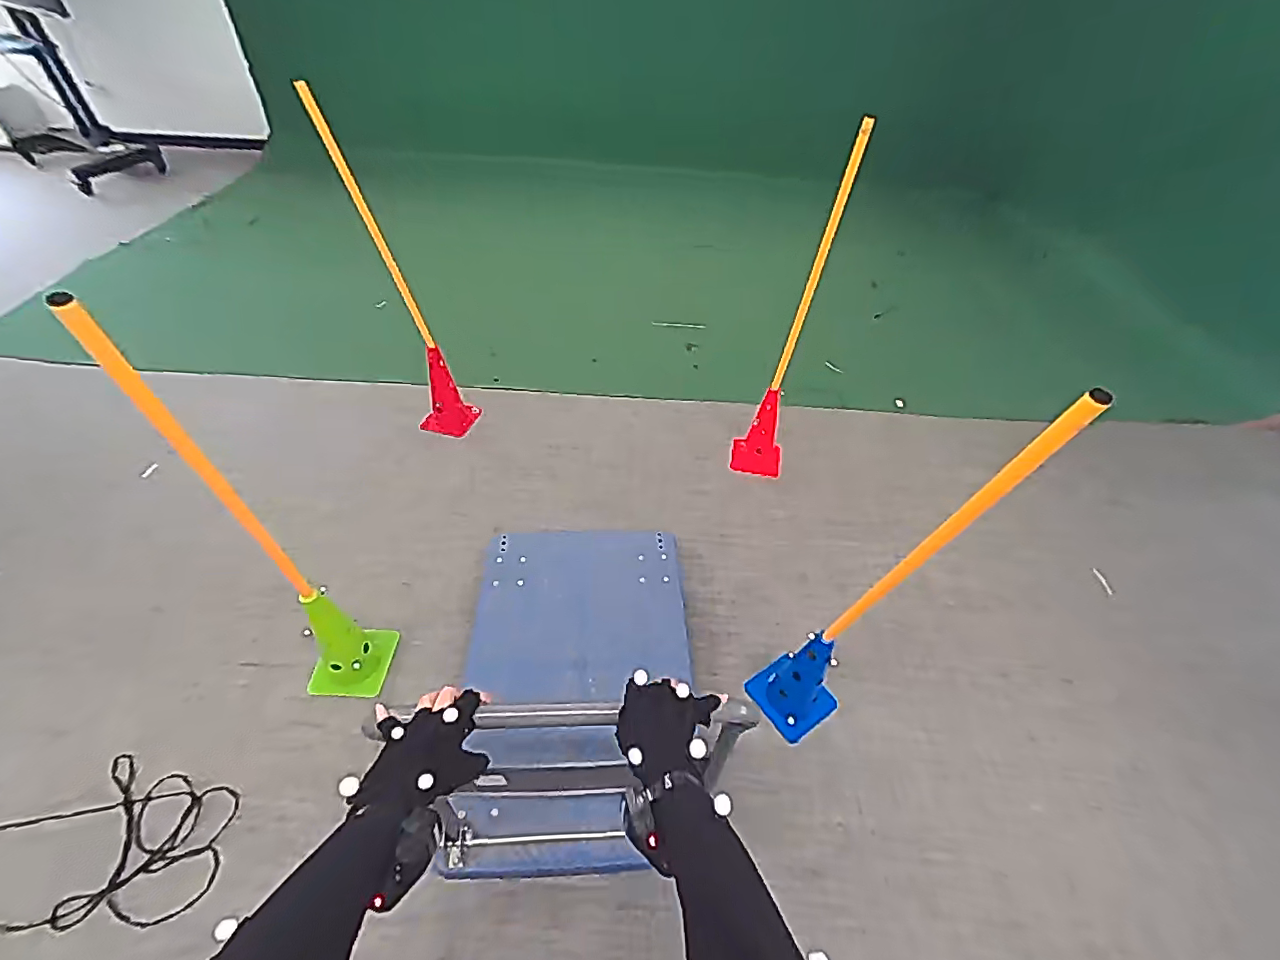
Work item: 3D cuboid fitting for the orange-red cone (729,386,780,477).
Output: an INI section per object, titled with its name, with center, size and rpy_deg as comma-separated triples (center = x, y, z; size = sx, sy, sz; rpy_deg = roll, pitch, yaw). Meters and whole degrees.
[orange-red cone]
center = 0.478, -0.209, 2.098
size = 0.198, 0.360, 0.199
rpy_deg = 11, 47, 8
